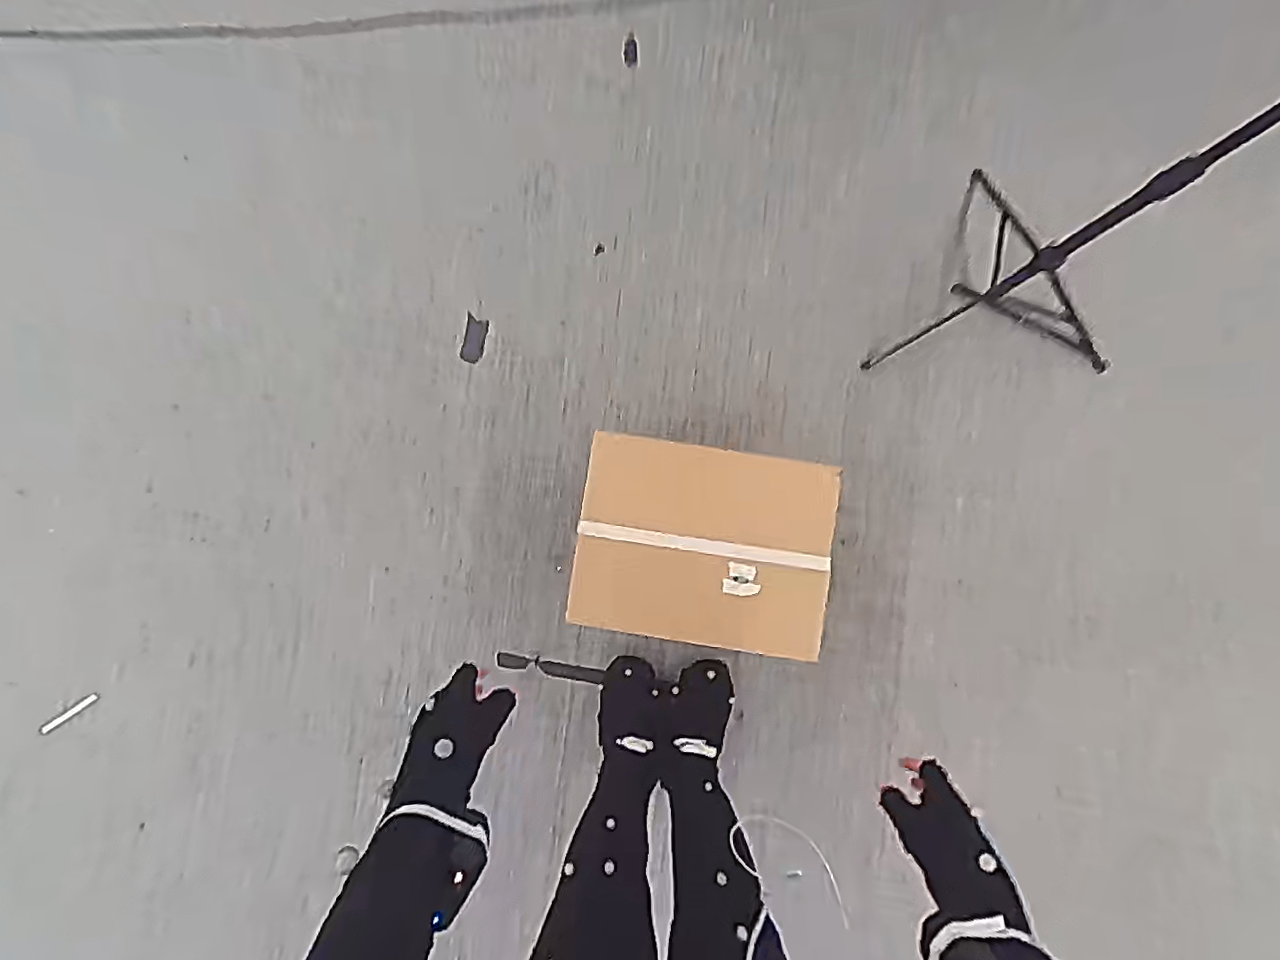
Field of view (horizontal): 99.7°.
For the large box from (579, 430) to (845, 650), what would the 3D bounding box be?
[{"bbox_3d":[0.118,0.104,1.019,0.408,0.320,0.320,9,88,2],"label":"large box"}]
